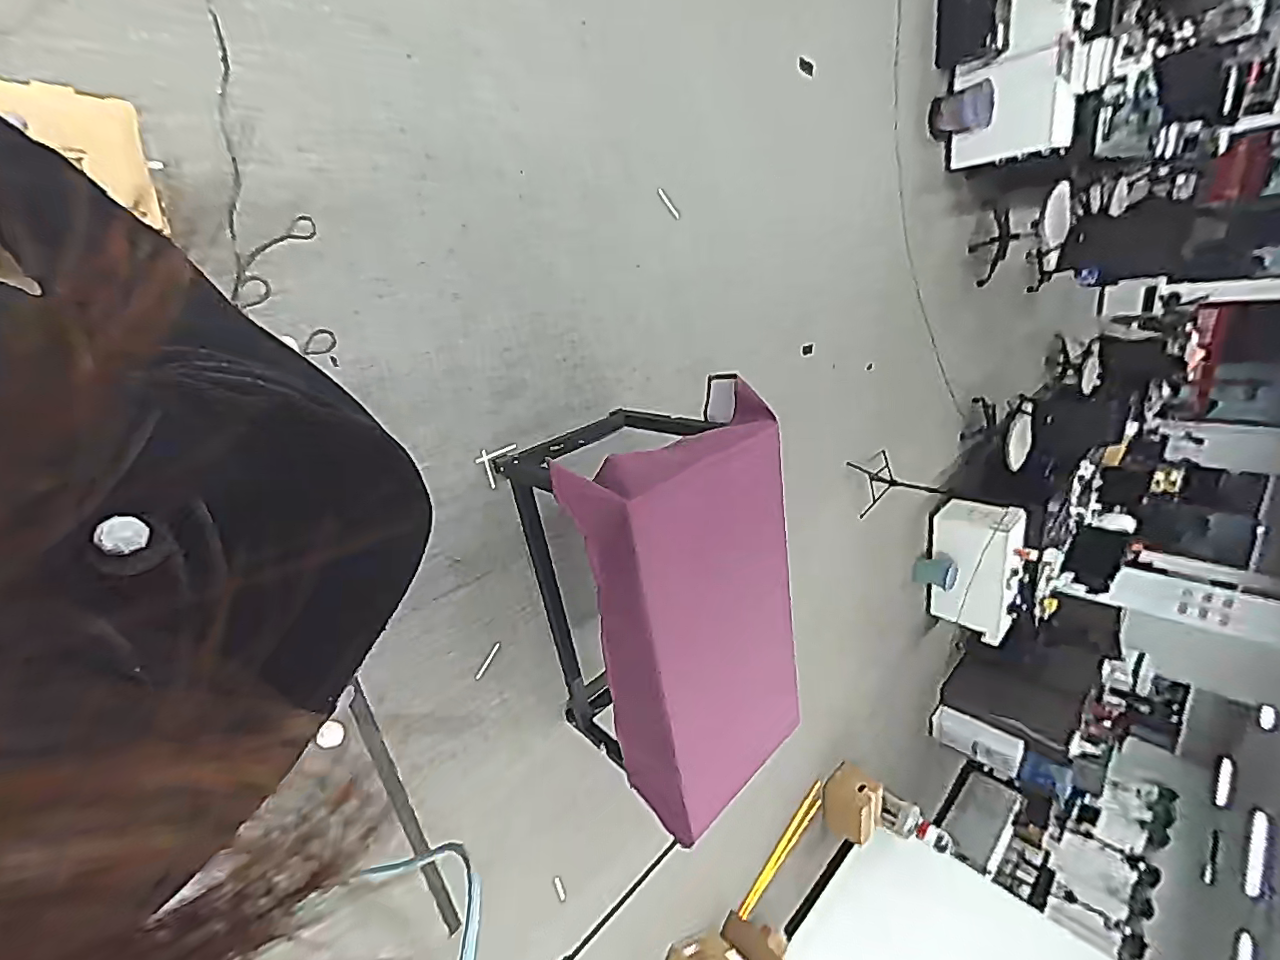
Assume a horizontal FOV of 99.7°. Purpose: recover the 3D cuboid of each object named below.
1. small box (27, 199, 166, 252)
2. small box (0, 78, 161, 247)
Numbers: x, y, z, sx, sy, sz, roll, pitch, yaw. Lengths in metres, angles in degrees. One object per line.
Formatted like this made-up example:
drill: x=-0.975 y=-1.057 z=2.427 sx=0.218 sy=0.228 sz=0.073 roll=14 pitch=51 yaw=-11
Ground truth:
small box: x=-0.964 y=-0.498 z=0.939 sx=0.179 sy=0.176 sz=0.168 roll=-24 pitch=115 yaw=-36
small box: x=-0.857 y=-0.466 z=0.818 sx=0.168 sy=0.176 sz=0.179 roll=-15 pitch=109 yaw=-39
